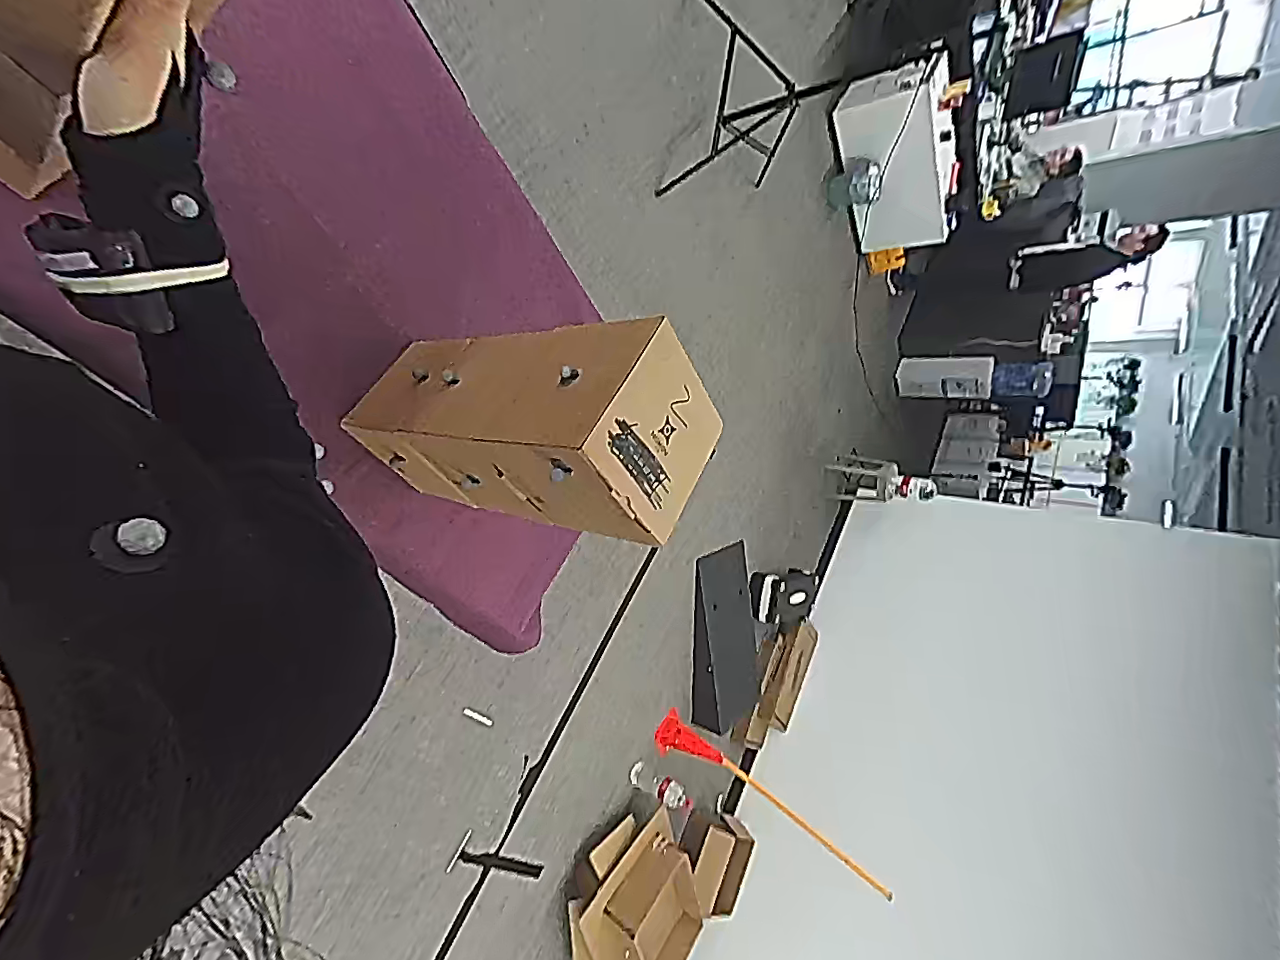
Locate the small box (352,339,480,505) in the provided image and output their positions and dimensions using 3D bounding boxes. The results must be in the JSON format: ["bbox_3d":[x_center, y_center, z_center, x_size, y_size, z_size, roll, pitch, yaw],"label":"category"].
[{"bbox_3d":[-0.294,-0.087,0.810,0.179,0.176,0.168,-60,136,-25],"label":"small box"}]

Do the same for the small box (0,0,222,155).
[{"bbox_3d":[-0.411,-0.351,0.350,0.168,0.176,0.179,48,60,-46],"label":"small box"}]

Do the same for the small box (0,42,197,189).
[{"bbox_3d":[-0.534,-0.379,0.452,0.168,0.176,0.179,50,59,-44],"label":"small box"}]

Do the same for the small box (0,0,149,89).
[{"bbox_3d":[-0.281,-0.308,0.213,0.168,0.176,0.179,26,83,-49],"label":"small box"}]

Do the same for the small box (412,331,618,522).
[{"bbox_3d":[-0.166,-0.071,0.709,0.179,0.176,0.168,-59,136,-25],"label":"small box"}]
